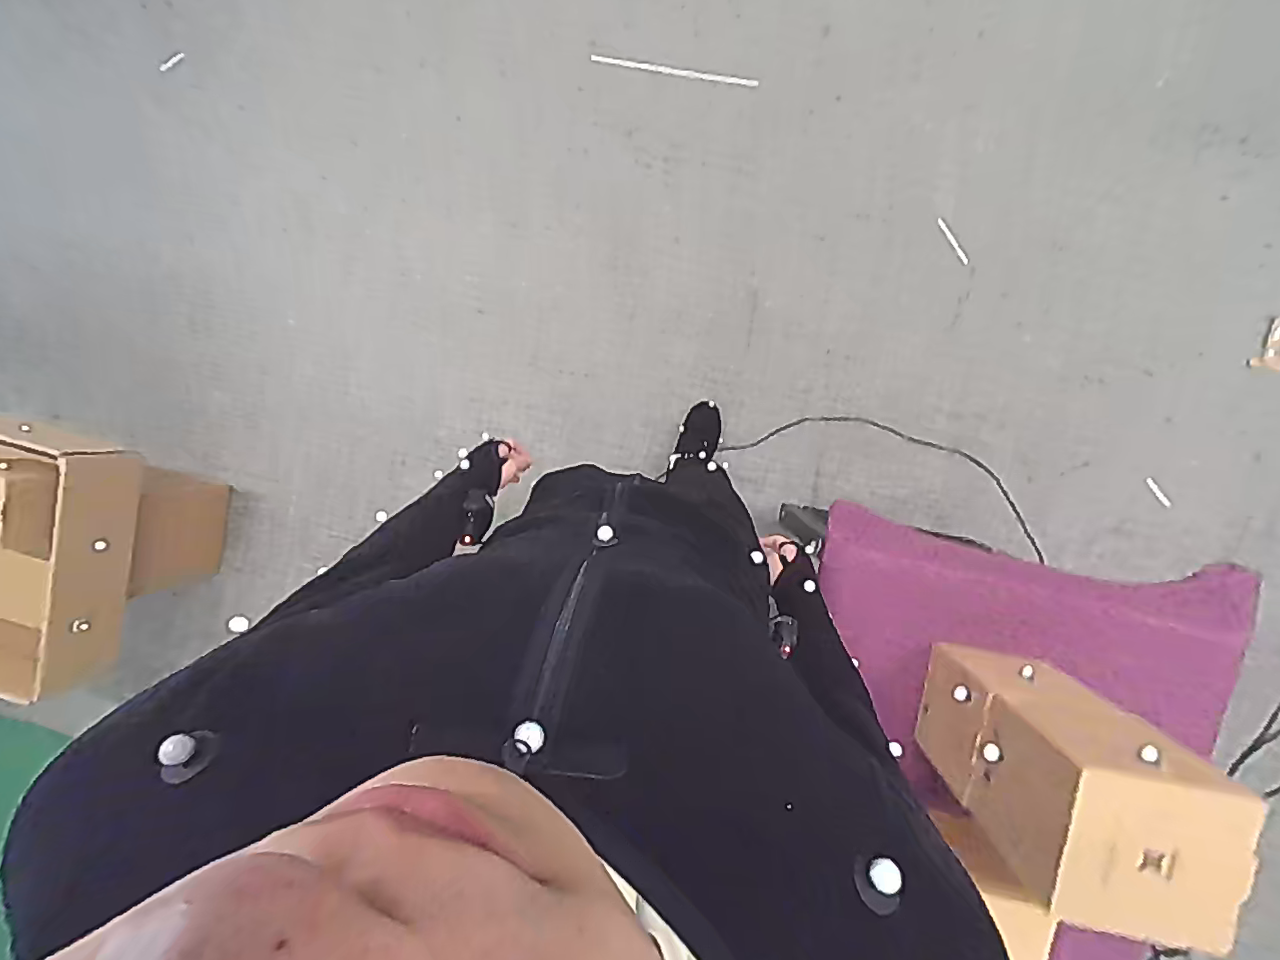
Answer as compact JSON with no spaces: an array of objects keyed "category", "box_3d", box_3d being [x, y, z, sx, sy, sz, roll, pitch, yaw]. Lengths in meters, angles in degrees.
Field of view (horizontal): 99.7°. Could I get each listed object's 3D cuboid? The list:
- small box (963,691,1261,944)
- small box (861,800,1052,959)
[{"category":"small box","box_3d":[0.517,0.367,0.622,0.179,0.176,0.168,10,95,4]},{"category":"small box","box_3d":[0.460,0.622,0.815,0.179,0.176,0.168,11,96,5]}]
